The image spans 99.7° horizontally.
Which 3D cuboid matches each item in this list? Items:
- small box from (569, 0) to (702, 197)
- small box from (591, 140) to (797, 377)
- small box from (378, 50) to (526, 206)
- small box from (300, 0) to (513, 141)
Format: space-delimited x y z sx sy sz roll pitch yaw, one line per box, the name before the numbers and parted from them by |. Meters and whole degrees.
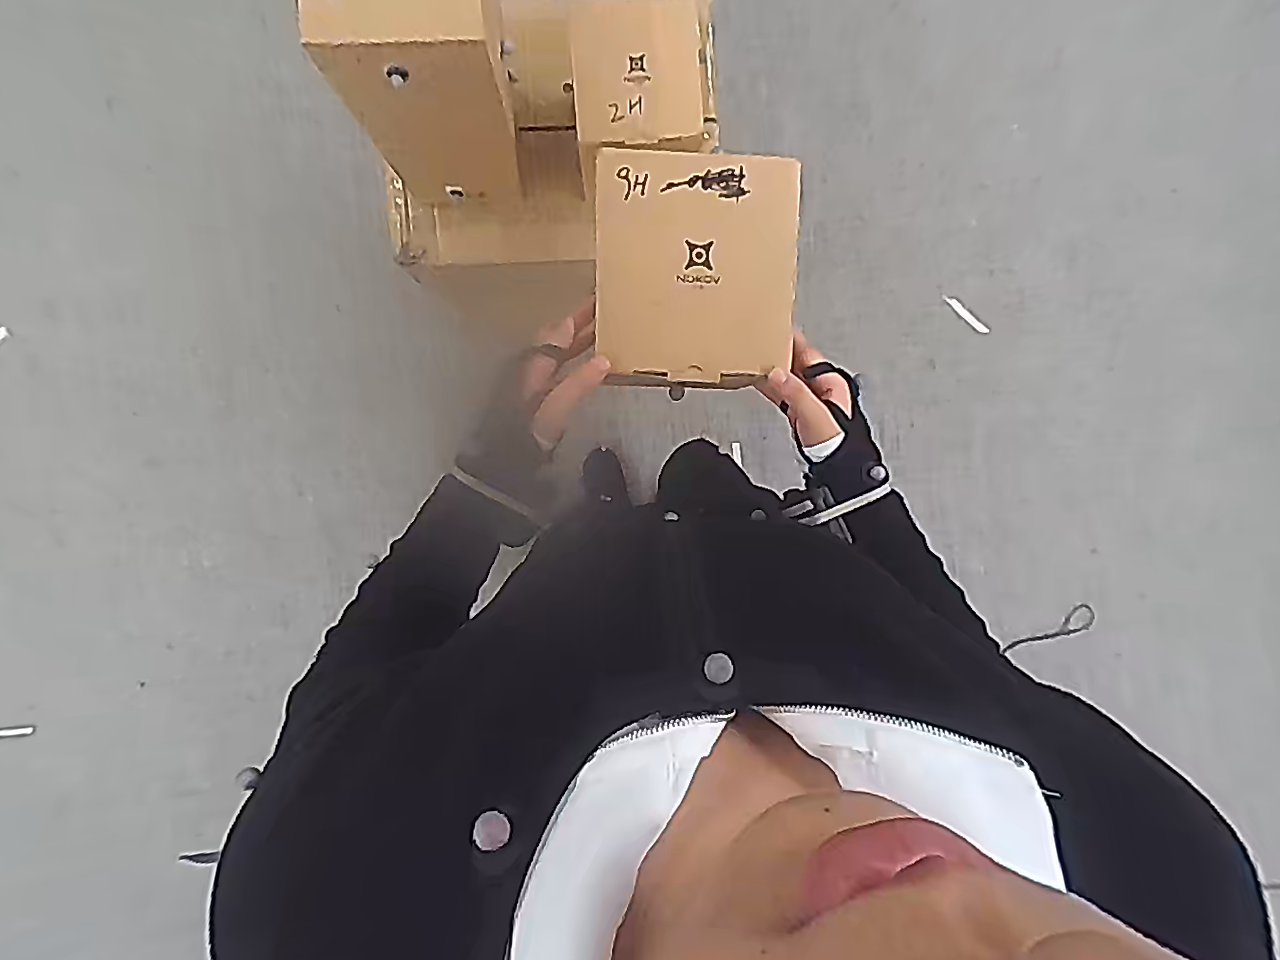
small box | -0.008 -0.529 0.775 0.168 0.176 0.179 -5 93 -1
small box | 0.038 -0.192 0.520 0.168 0.176 0.179 0 98 -4
small box | -0.261 -0.516 0.764 0.168 0.176 0.179 -5 94 -2
small box | -0.249 -0.506 0.601 0.179 0.176 0.168 -5 93 -4
